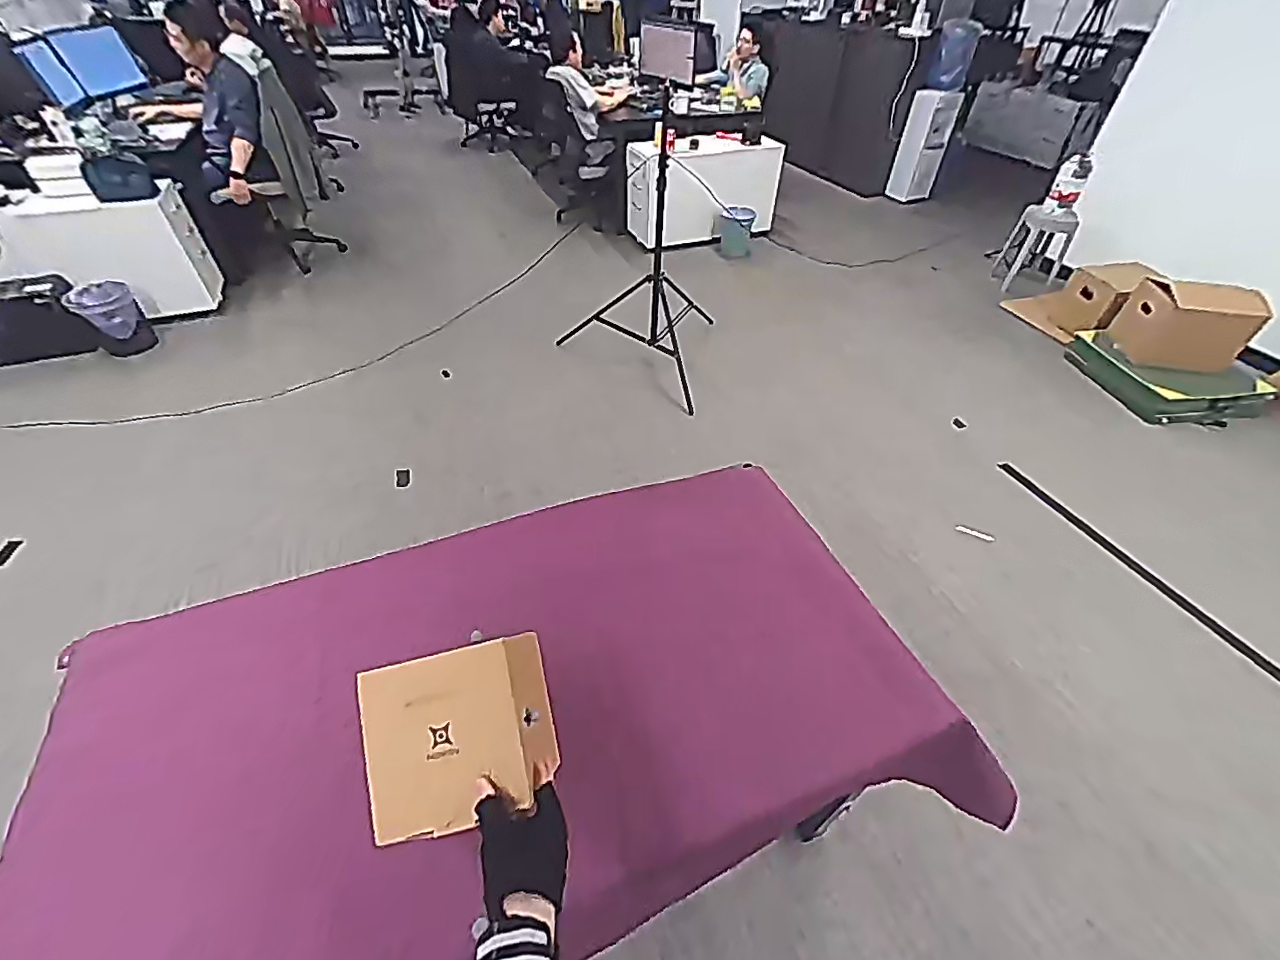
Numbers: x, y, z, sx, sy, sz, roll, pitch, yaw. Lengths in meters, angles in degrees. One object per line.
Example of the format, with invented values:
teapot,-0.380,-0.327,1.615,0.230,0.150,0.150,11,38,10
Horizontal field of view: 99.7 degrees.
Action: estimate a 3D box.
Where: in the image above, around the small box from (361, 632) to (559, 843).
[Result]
small box,-0.205,0.293,0.656,0.168,0.176,0.179,-15,76,-1
